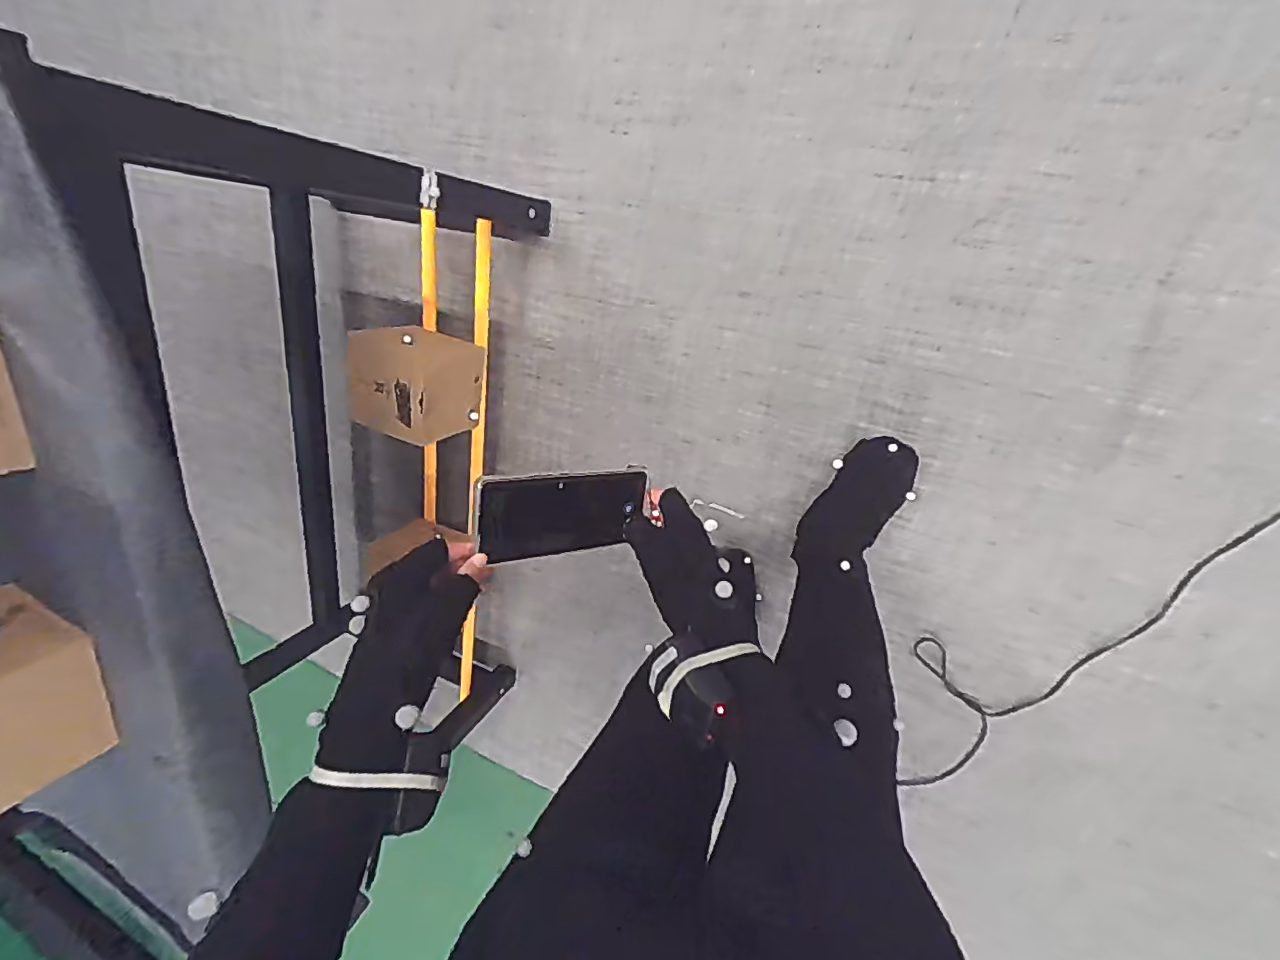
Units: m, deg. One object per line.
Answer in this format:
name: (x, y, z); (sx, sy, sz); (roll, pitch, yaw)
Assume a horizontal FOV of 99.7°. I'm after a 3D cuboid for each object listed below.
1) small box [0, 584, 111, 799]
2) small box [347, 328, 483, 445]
small box: (-0.744, 0.249, 0.602); (0.168, 0.176, 0.179); (20, 114, 16)
small box: (-0.420, -0.186, 1.024); (0.179, 0.176, 0.168); (20, 114, 16)
